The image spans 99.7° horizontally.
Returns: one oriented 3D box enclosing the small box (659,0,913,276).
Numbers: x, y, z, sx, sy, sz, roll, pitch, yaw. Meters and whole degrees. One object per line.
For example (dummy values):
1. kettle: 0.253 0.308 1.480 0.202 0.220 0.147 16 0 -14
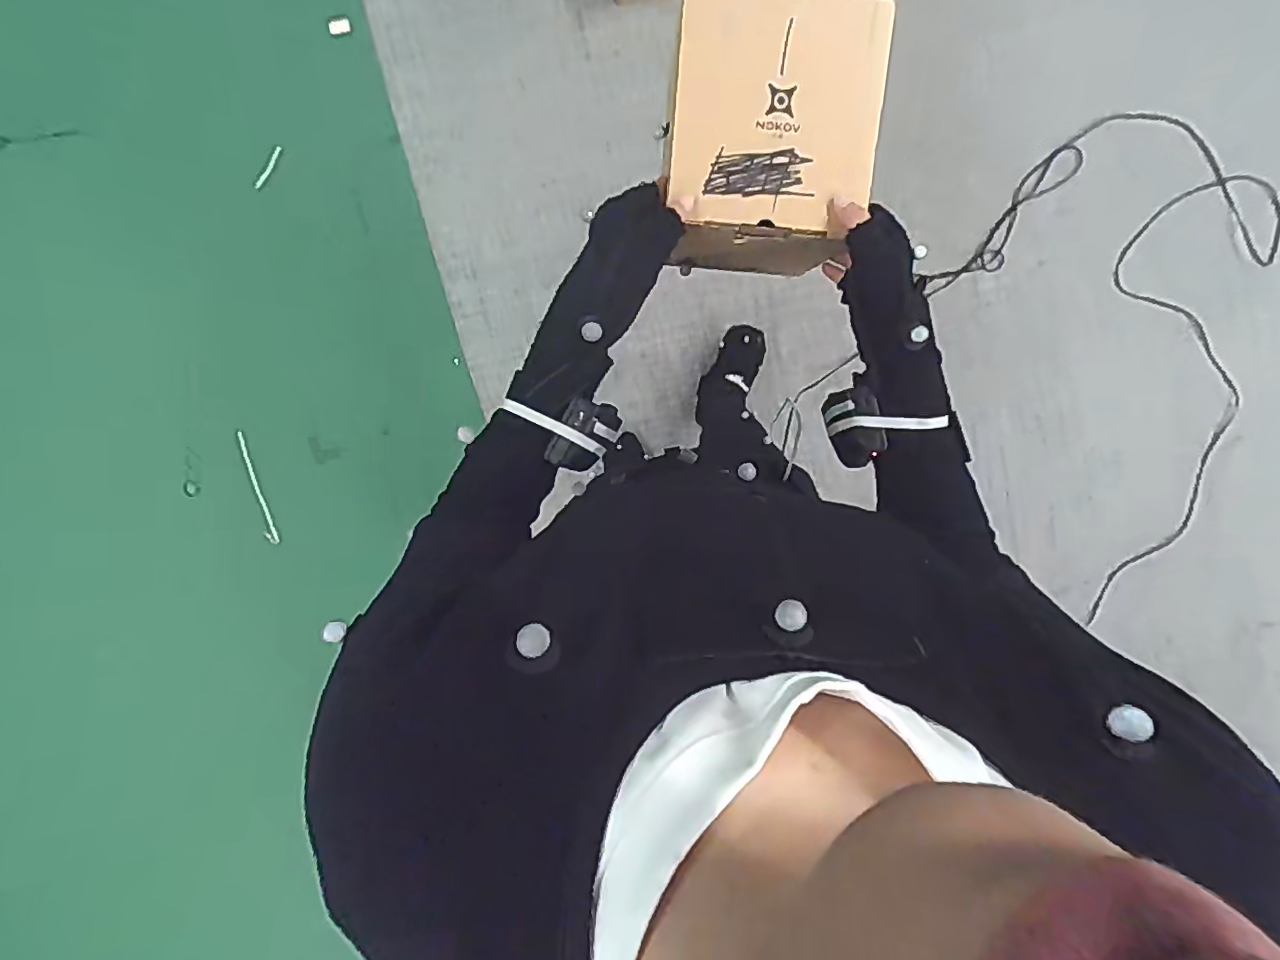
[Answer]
1. small box: 0.113 -0.299 0.501 0.168 0.176 0.179 7 101 -5
